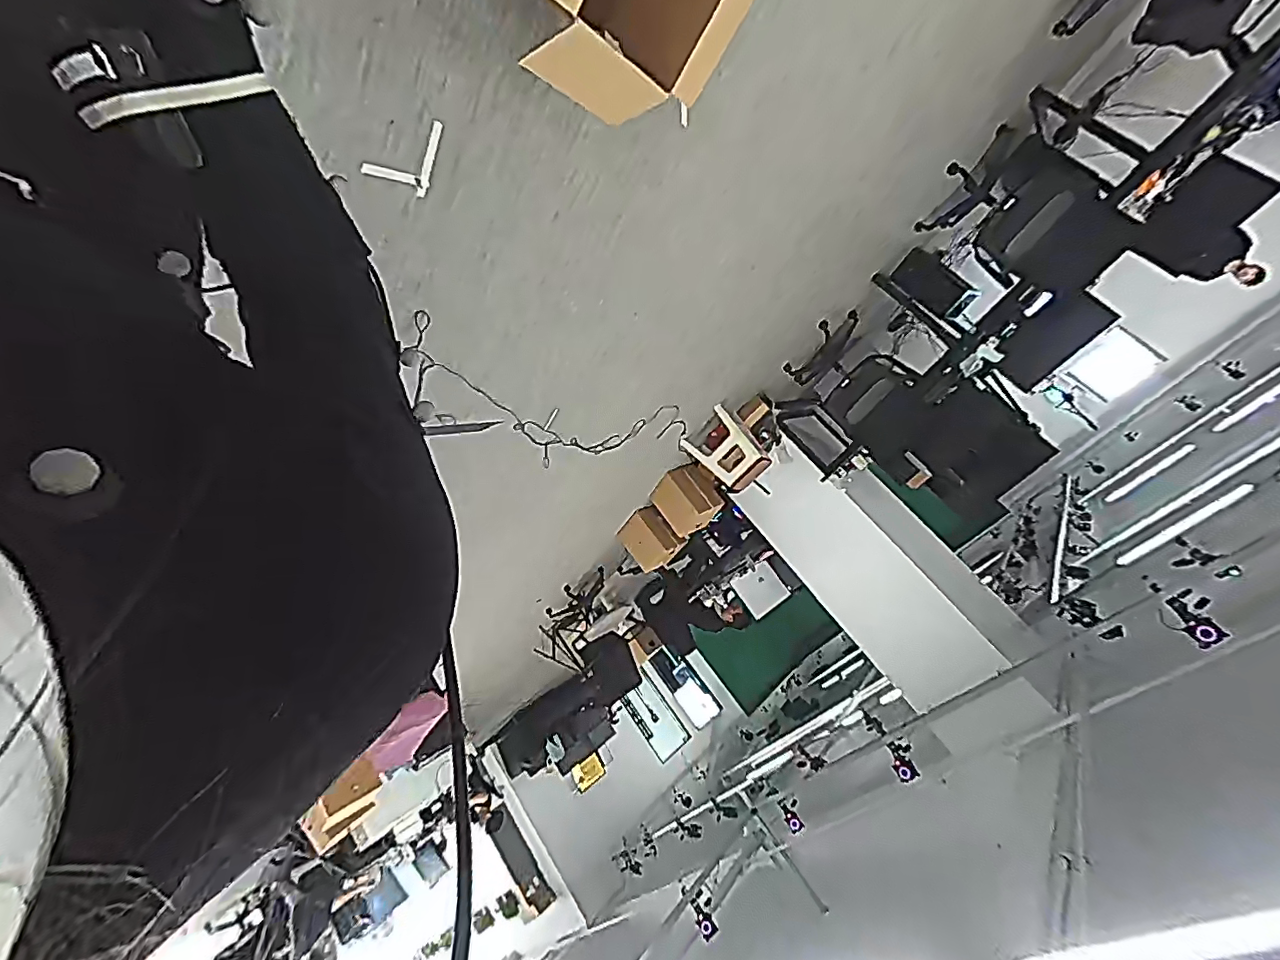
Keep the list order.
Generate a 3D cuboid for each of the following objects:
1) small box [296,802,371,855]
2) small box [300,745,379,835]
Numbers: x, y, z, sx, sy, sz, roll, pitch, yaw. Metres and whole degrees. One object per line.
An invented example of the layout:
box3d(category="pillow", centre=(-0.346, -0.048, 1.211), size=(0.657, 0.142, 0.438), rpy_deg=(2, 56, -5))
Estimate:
box3d(category="small box", centre=(-1.129, 1.223, 1.978), size=(0.176, 0.168, 0.179), rpy_deg=(-50, 165, 31))
box3d(category="small box", centre=(-1.013, 1.034, 1.814), size=(0.179, 0.176, 0.168), rpy_deg=(-16, 150, -49))
